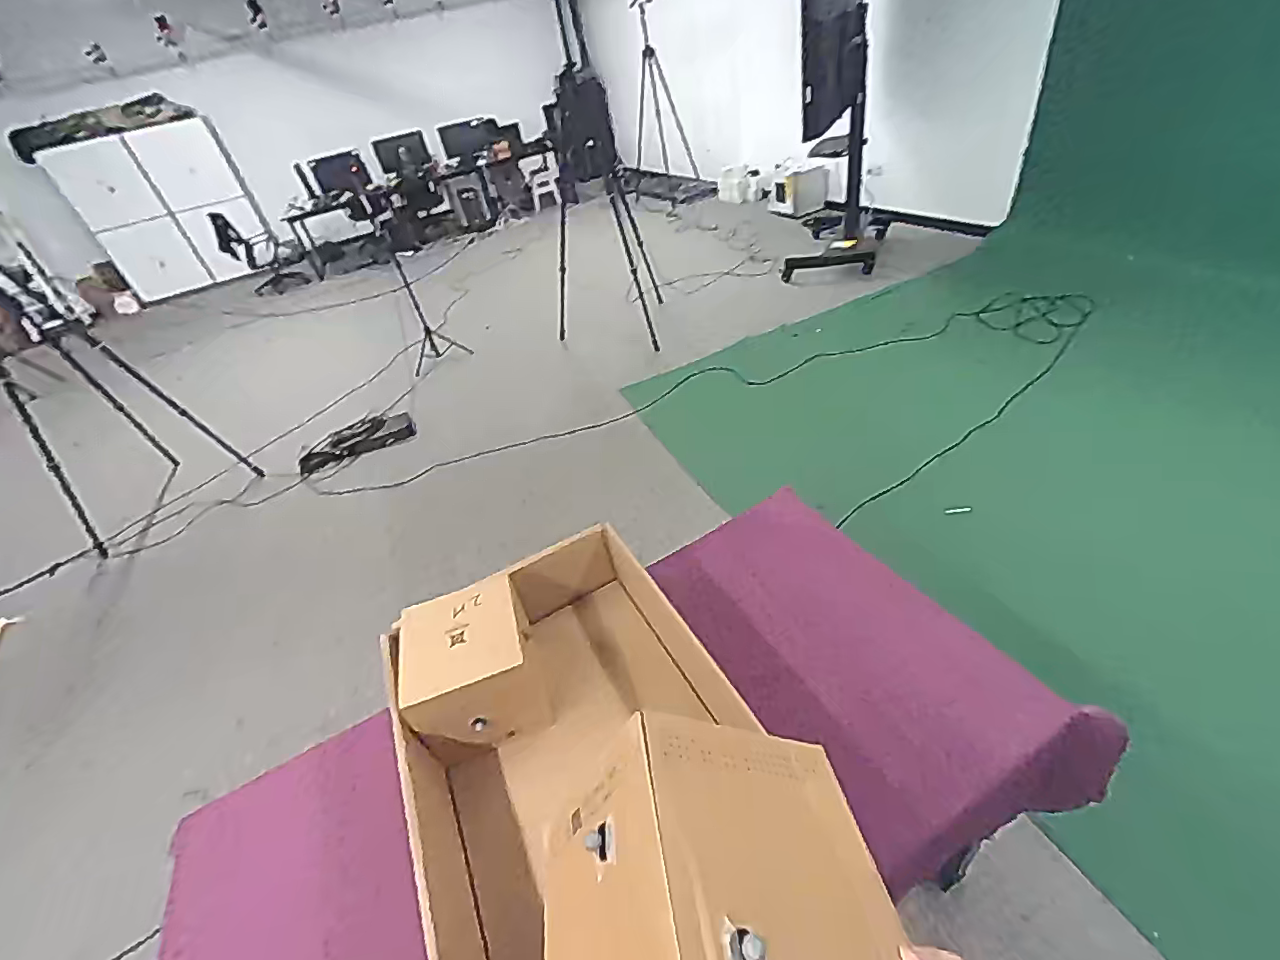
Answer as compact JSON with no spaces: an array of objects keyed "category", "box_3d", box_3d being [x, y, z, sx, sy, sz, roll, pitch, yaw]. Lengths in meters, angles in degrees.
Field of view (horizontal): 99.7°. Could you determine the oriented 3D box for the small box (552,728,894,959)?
[{"category":"small box","box_3d":[0.048,0.302,0.380,0.179,0.168,0.176,21,27,-20]}]
